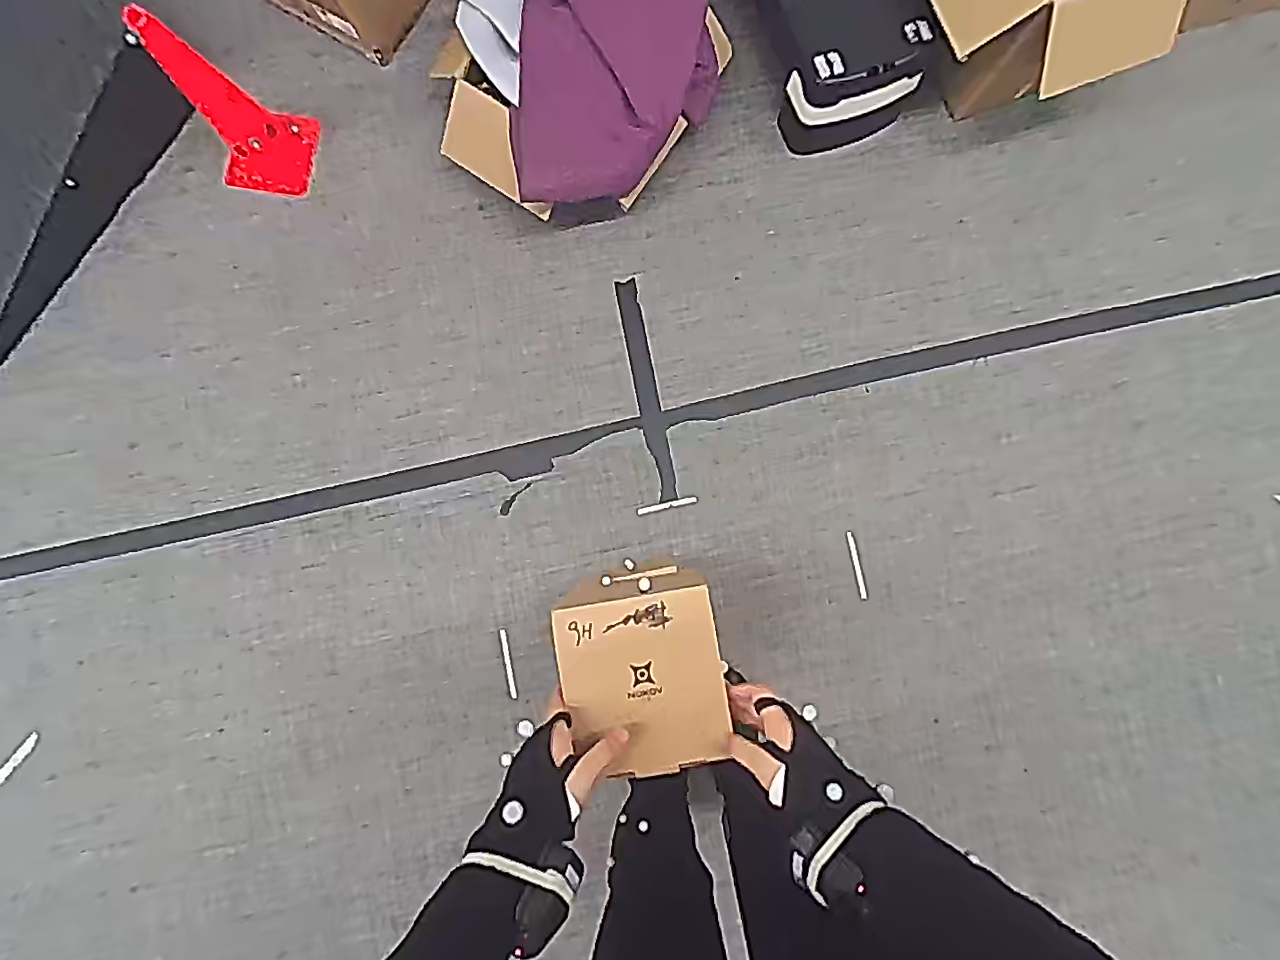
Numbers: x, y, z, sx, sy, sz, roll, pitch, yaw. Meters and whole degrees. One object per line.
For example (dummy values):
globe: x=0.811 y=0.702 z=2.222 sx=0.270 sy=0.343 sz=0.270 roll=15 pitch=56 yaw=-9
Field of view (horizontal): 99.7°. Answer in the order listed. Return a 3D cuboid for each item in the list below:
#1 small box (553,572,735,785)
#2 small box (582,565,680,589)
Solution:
small box: x=0.005 y=0.212 z=0.621 sx=0.168 sy=0.176 sz=0.179 roll=-9 pitch=86 yaw=0
small box: x=0.000 y=0.249 z=0.946 sx=0.168 sy=0.176 sz=0.179 roll=-12 pitch=85 yaw=-1
